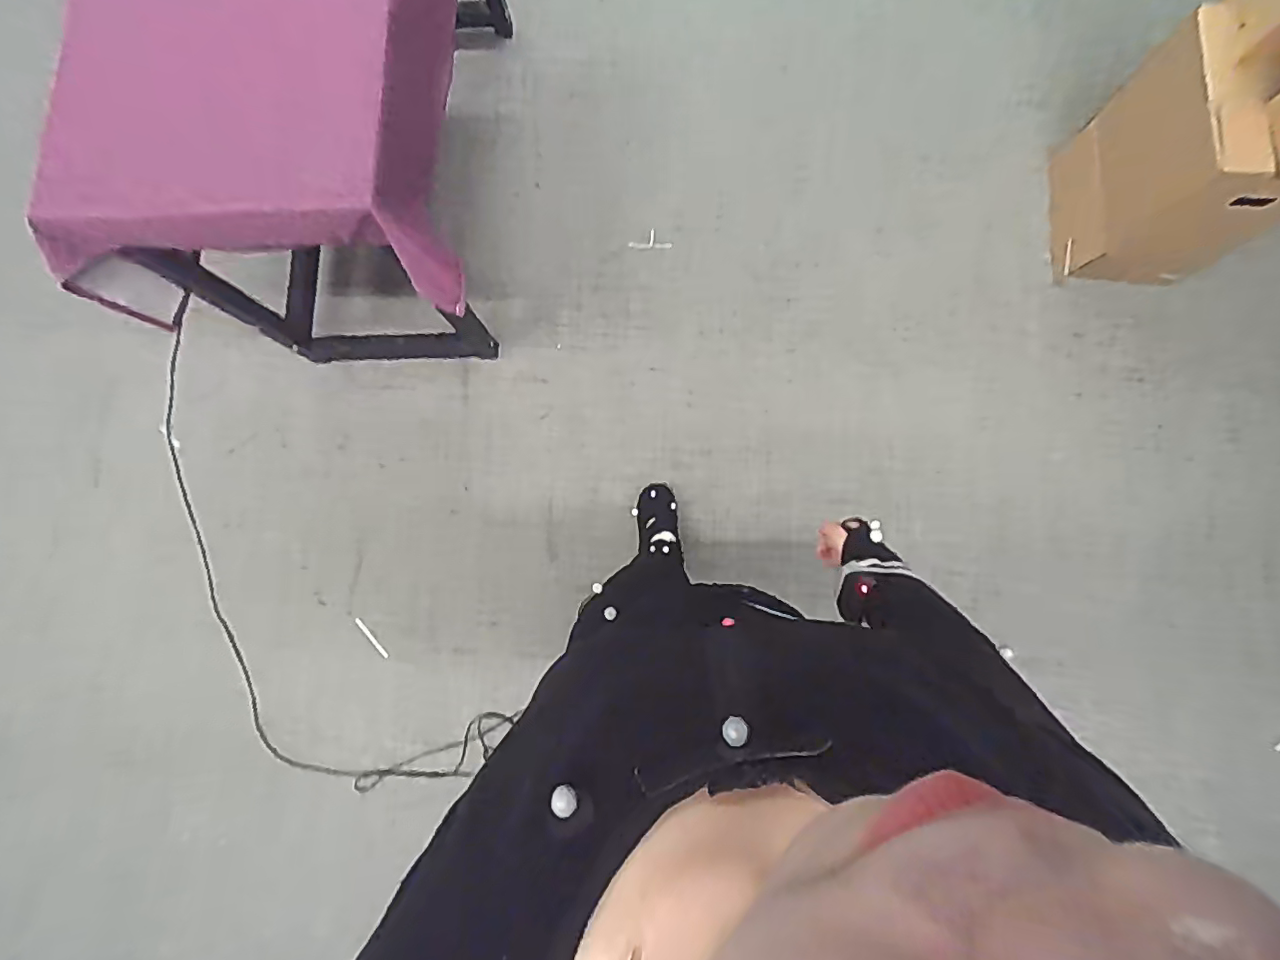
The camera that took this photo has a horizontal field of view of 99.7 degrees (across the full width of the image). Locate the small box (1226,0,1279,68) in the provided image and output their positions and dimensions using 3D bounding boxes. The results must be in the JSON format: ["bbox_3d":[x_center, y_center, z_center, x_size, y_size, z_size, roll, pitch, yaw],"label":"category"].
[{"bbox_3d":[1.350,-0.976,1.093,0.179,0.176,0.168,4,83,2],"label":"small box"}]

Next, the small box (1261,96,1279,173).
[{"bbox_3d":[1.391,-0.712,1.053,0.168,0.176,0.179,2,80,1],"label":"small box"}]
